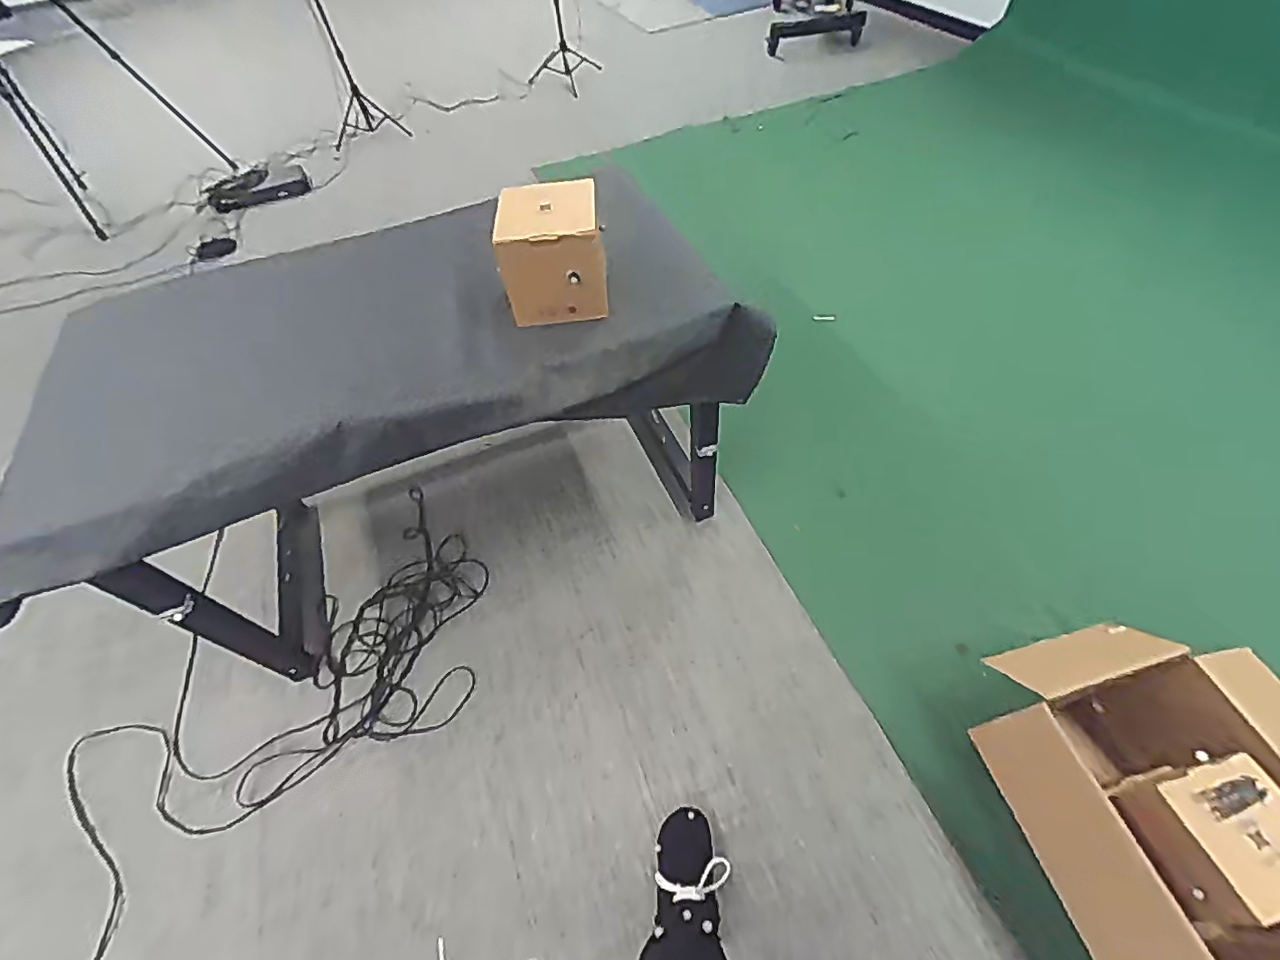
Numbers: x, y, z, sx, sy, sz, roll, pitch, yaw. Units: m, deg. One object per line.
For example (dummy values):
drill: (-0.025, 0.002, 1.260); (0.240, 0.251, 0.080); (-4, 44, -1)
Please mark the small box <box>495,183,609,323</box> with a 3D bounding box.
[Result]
small box: (-0.147, -0.395, 0.960); (0.168, 0.176, 0.179); (-5, 52, 1)
